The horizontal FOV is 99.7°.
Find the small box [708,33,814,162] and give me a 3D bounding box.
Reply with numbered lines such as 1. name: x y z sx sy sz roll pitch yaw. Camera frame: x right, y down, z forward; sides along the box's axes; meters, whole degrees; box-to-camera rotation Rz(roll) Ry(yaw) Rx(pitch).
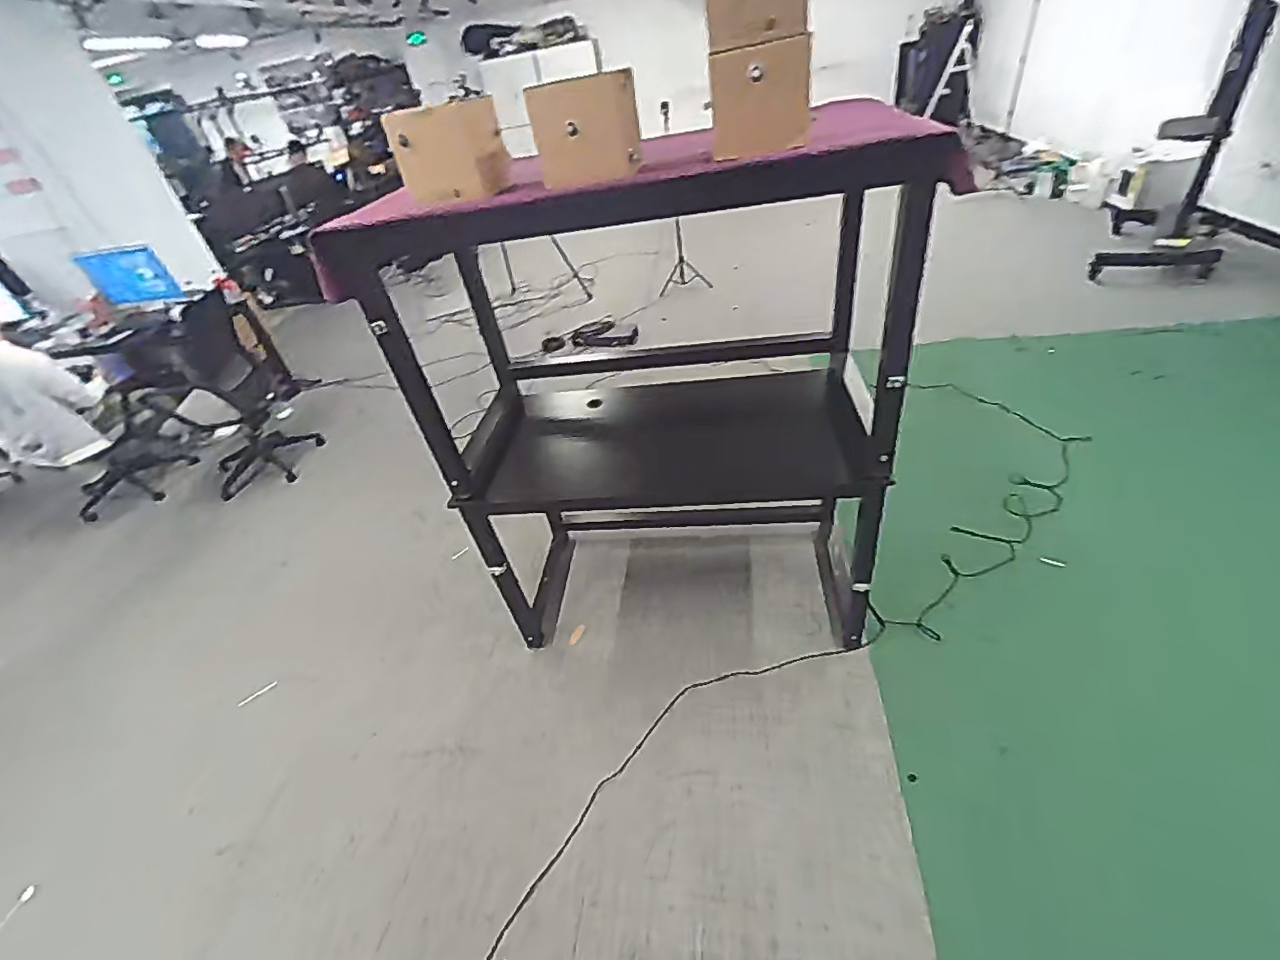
1. small box: 0.229 -0.709 1.009 0.179 0.176 0.168 -1 39 14

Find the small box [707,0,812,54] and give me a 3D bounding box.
1. small box: 0.201 -0.841 0.915 0.168 0.176 0.179 -2 39 14

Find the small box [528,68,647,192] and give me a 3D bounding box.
1. small box: -0.091 -0.684 1.061 0.179 0.176 0.168 -1 38 15
